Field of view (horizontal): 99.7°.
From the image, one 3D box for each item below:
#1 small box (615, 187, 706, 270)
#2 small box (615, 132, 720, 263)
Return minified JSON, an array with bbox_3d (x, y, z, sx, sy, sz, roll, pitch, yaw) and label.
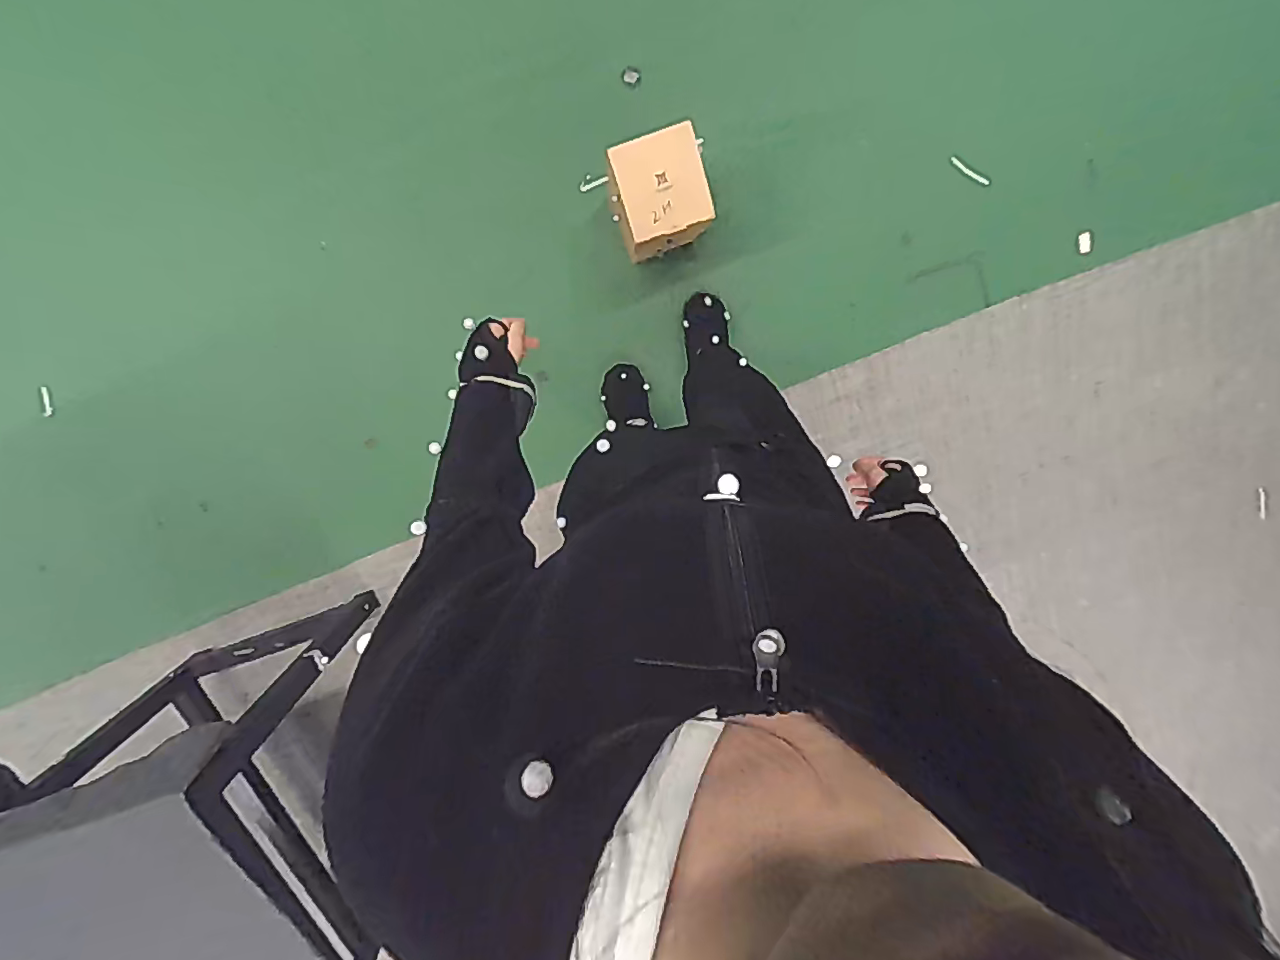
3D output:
[{"bbox_3d":[0.050,-0.610,1.271,0.168,0.176,0.179,-21,103,4],"label":"small box"},{"bbox_3d":[0.051,-0.567,1.111,0.168,0.176,0.179,-18,104,4],"label":"small box"}]
